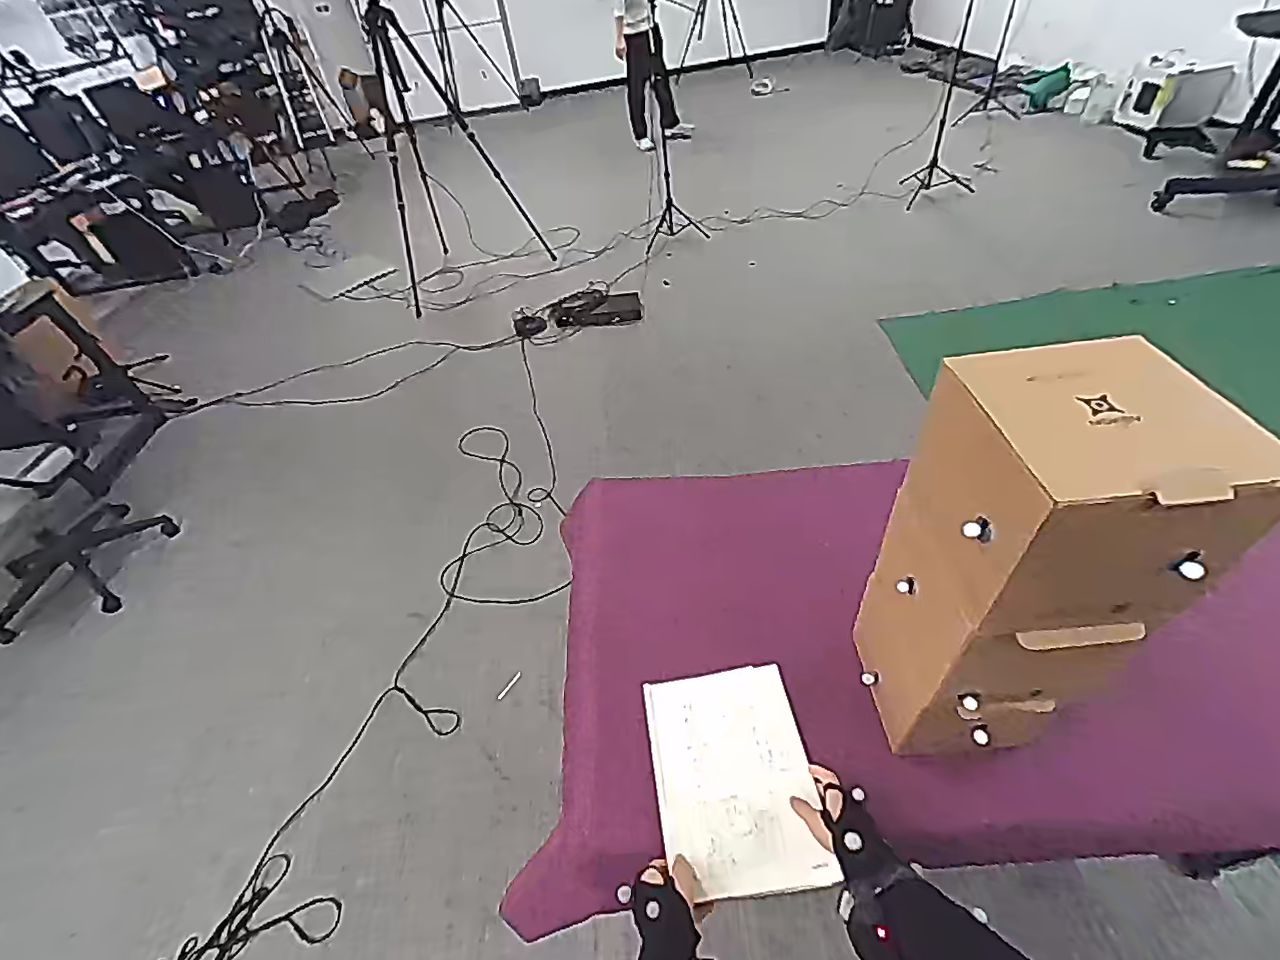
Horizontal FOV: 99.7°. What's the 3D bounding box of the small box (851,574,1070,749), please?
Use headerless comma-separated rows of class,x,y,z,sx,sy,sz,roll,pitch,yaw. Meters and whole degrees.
small box,0.390,0.232,0.698,0.168,0.176,0.179,-6,45,3

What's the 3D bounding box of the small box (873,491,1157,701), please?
small box,0.369,0.121,0.579,0.168,0.176,0.179,-6,43,4

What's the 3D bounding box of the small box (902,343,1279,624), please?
small box,0.349,0.009,0.461,0.168,0.176,0.179,-5,44,4
